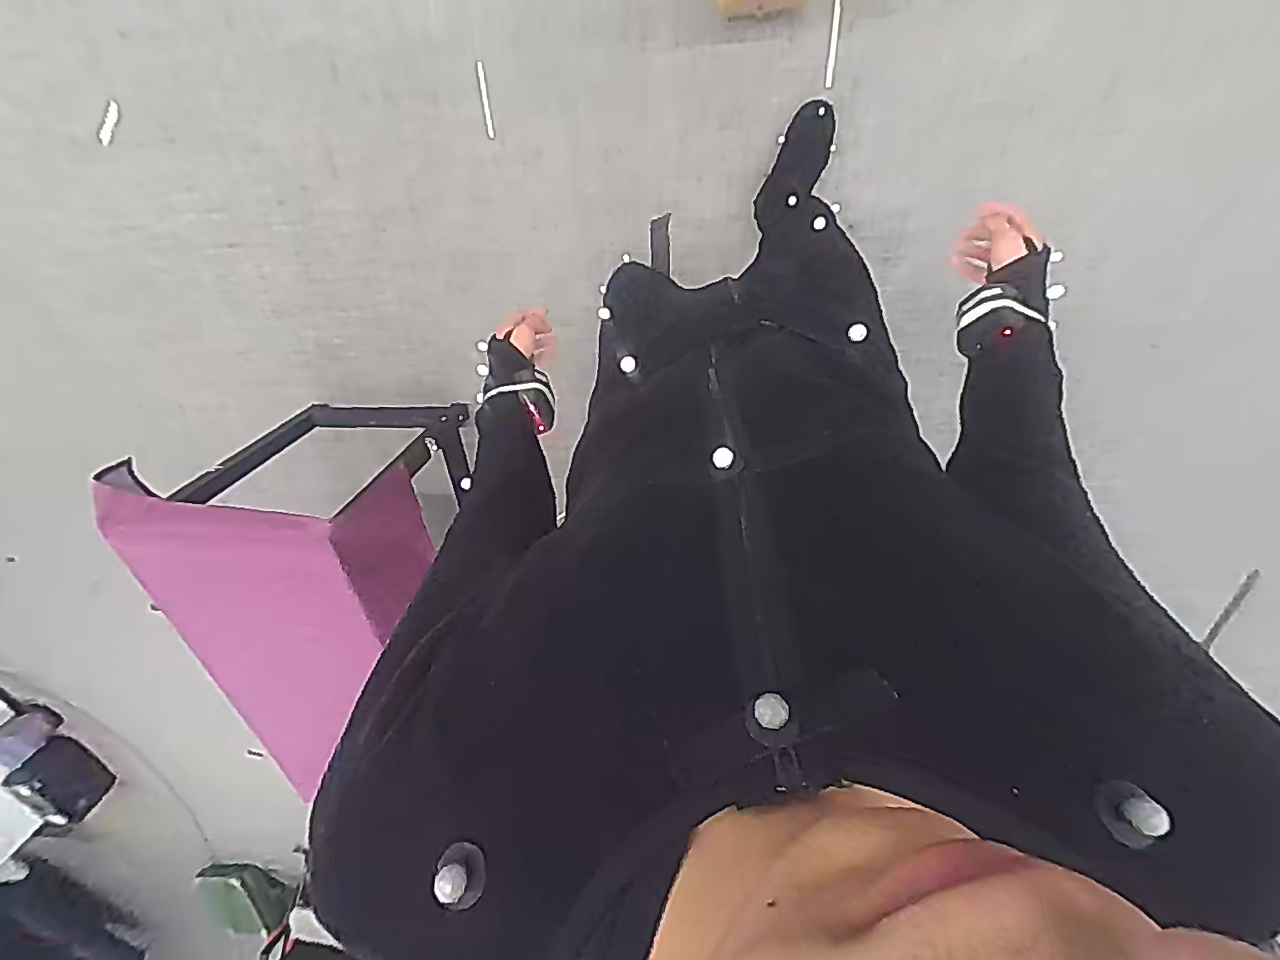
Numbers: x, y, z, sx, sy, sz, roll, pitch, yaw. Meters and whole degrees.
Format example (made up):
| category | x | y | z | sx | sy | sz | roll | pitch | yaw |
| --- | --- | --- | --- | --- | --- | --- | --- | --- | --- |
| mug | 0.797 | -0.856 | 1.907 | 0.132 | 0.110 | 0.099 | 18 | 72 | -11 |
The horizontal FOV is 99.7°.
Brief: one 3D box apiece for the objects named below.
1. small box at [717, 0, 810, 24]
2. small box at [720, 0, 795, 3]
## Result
| category | x | y | z | sx | sy | sz | roll | pitch | yaw |
| --- | --- | --- | --- | --- | --- | --- | --- | --- | --- |
| small box | 0.239 | -1.005 | 1.043 | 0.179 | 0.176 | 0.168 | 1 | 123 | 10 |
| small box | 0.210 | -0.928 | 0.902 | 0.168 | 0.176 | 0.179 | 5 | 124 | 7 |
